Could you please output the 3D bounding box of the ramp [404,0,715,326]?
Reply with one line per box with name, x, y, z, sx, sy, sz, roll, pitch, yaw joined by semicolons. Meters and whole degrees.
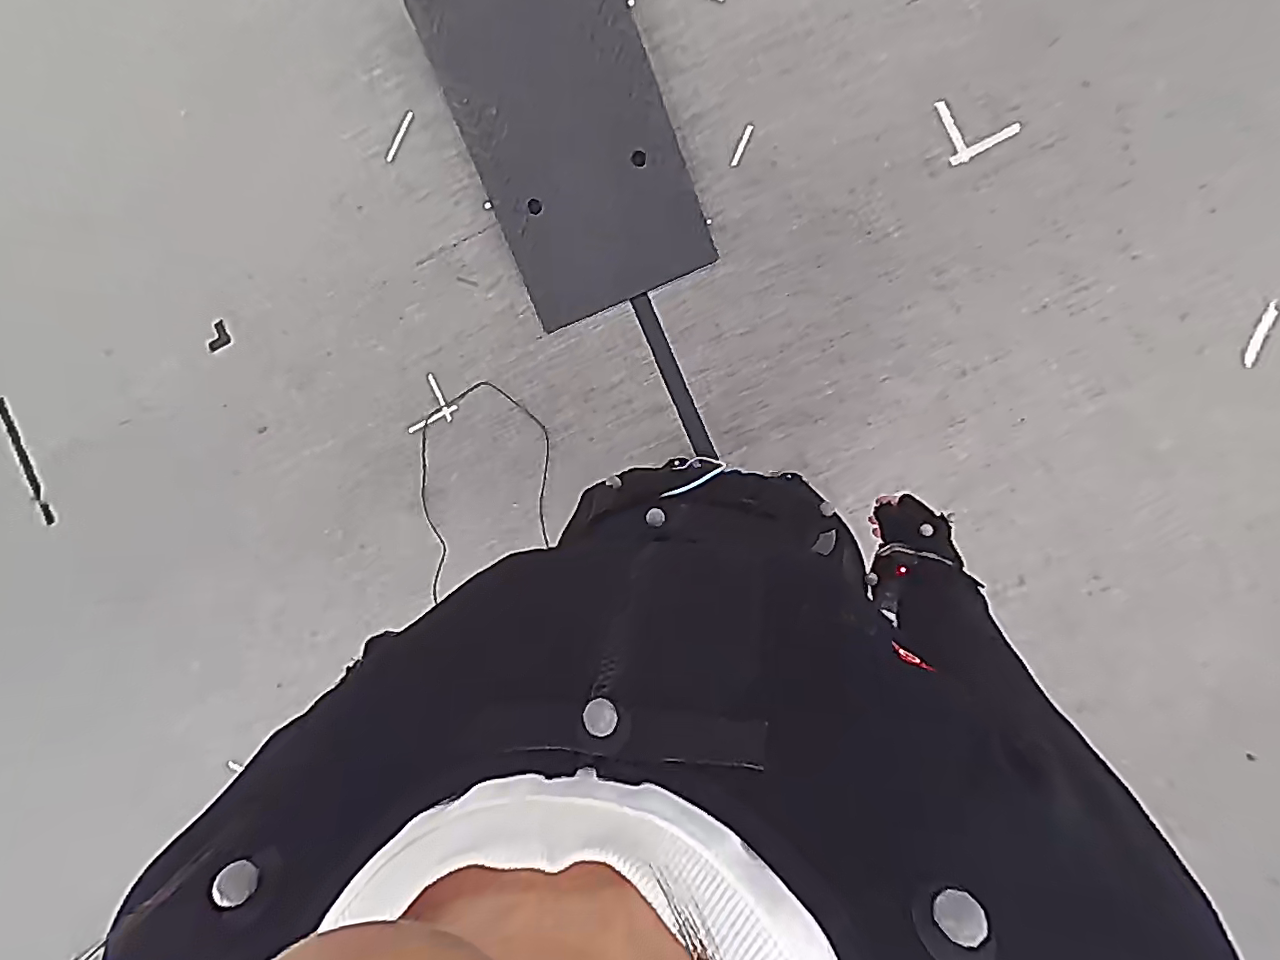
ramp;-0.212;-0.941;1.307;0.509;0.206;0.991;-23;92;5
